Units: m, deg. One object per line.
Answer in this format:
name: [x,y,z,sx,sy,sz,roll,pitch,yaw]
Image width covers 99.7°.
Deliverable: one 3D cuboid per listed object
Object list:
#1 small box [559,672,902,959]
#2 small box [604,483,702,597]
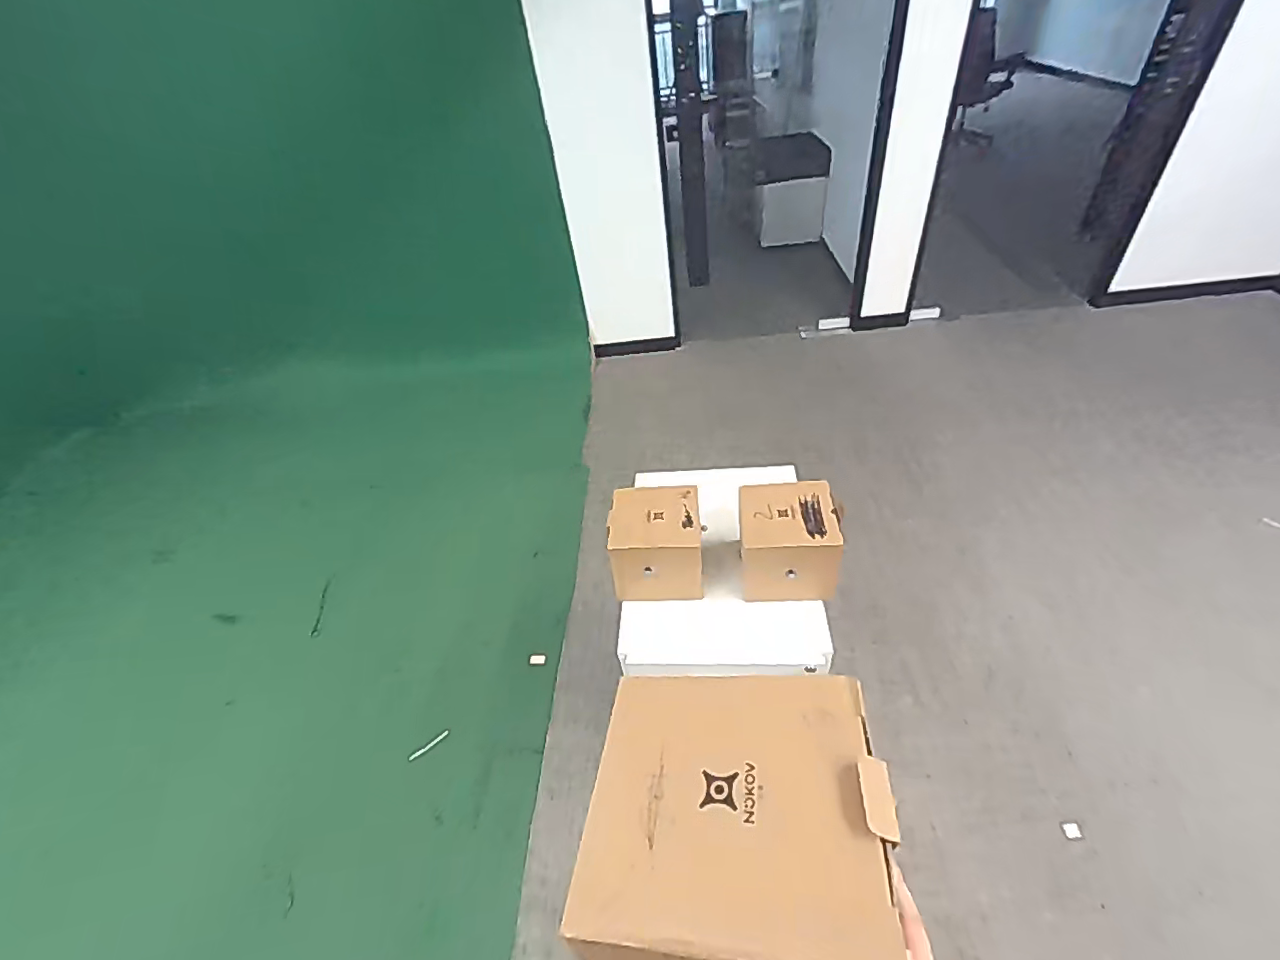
small box: [0.072,0.256,0.376,0.179,0.176,0.168,-7,32,17]
small box: [0.033,0.125,1.097,0.179,0.176,0.168,-3,43,6]
